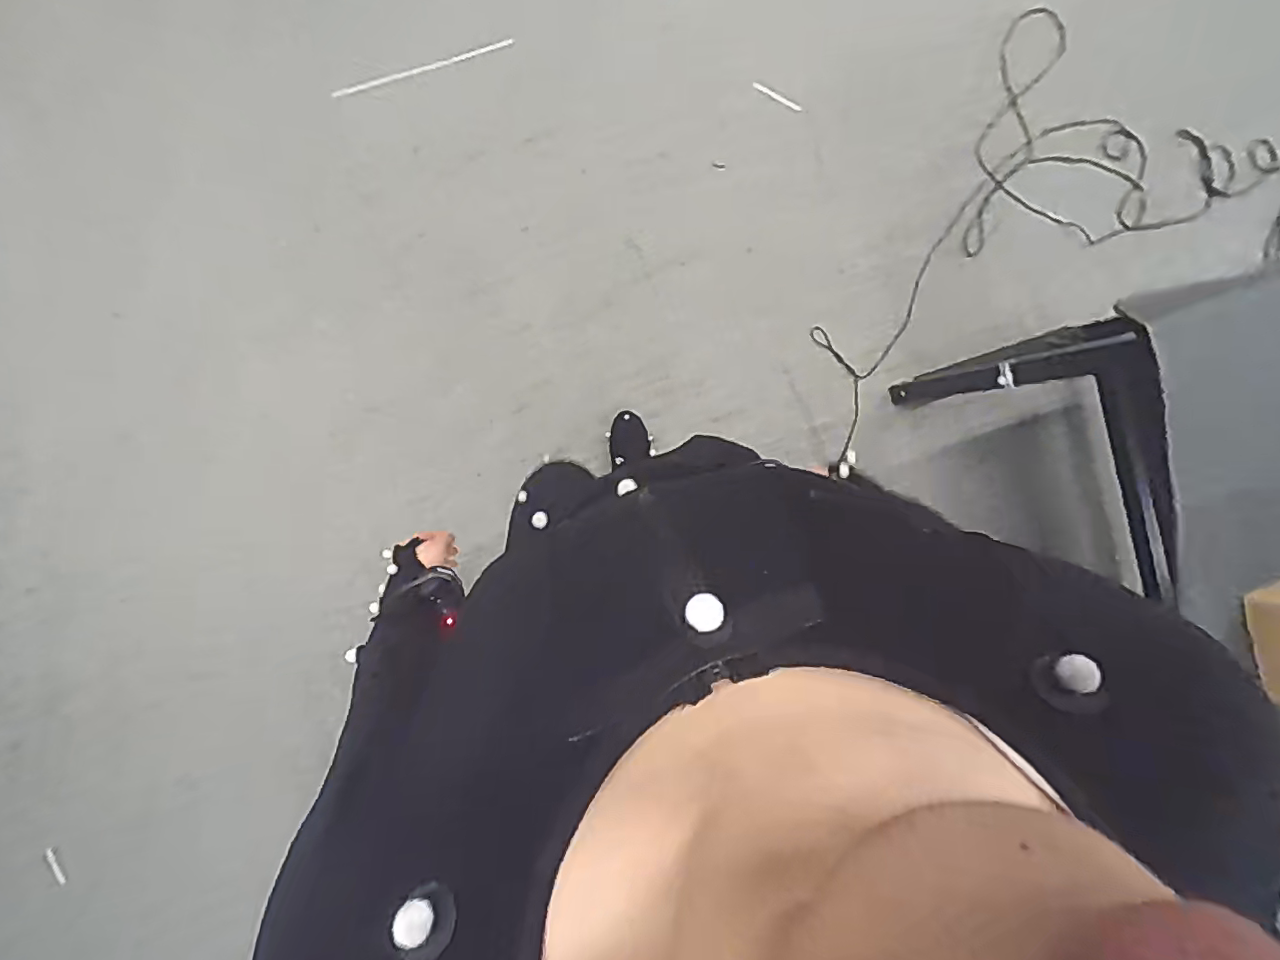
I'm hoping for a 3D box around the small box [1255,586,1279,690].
[{"bbox_3d":[1.034,0.238,0.750,0.168,0.176,0.179,-17,93,-5],"label":"small box"}]
